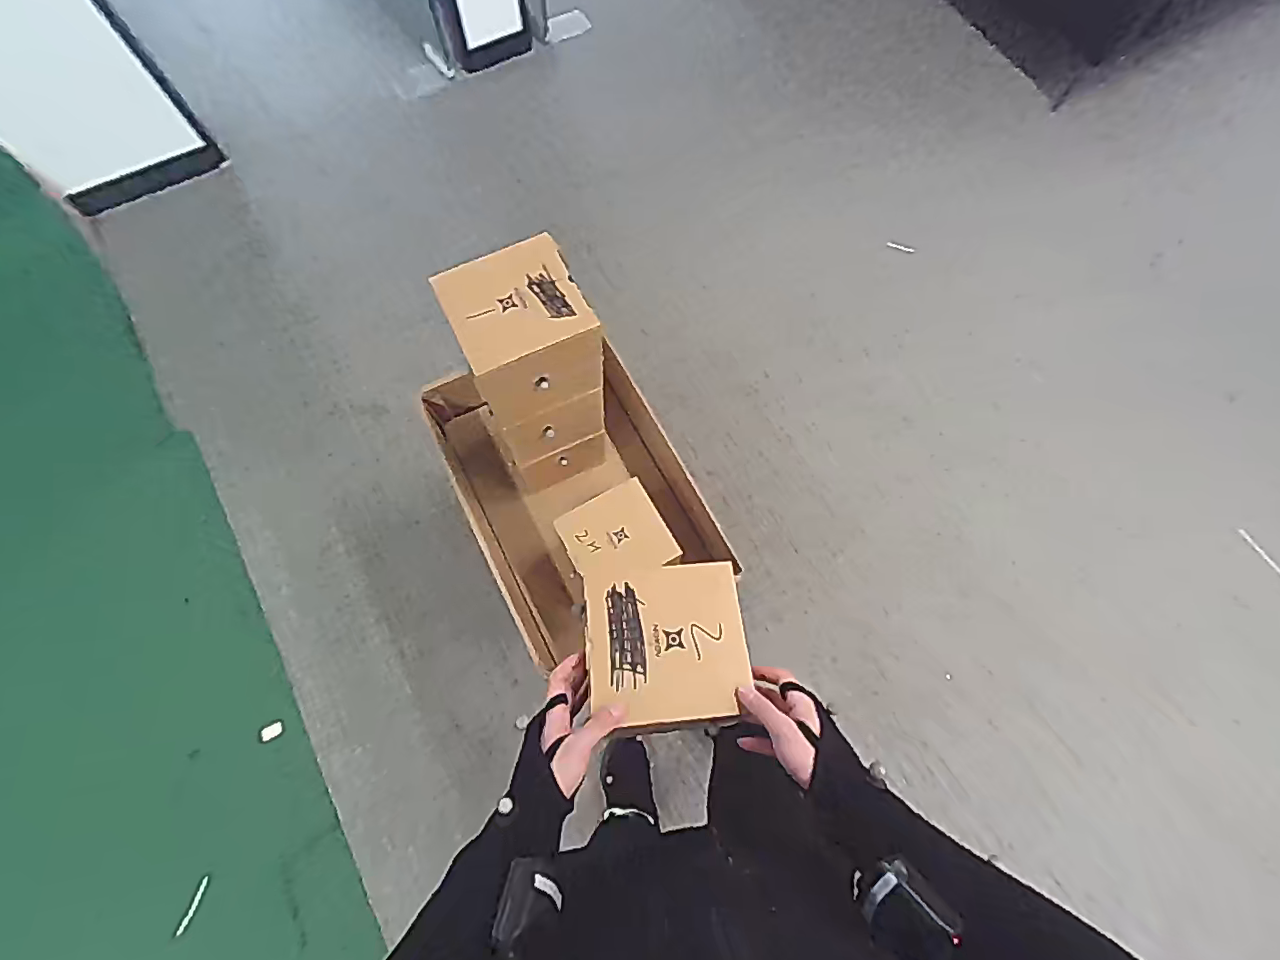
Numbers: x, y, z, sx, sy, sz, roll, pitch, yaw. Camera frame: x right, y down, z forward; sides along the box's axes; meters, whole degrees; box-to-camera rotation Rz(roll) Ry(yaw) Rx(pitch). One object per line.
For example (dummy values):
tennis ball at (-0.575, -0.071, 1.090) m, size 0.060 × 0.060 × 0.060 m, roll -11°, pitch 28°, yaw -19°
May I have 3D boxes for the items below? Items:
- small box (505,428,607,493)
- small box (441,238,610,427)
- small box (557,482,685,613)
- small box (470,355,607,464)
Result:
small box at (-0.175, -0.094, 1.088) m, size 0.179 × 0.176 × 0.168 m, roll -23°, pitch 74°, yaw -11°
small box at (-0.155, -0.203, 0.779) m, size 0.179 × 0.176 × 0.168 m, roll -25°, pitch 75°, yaw -11°
small box at (-0.038, 0.132, 1.012) m, size 0.179 × 0.176 × 0.168 m, roll -27°, pitch 73°, yaw -11°
small box at (-0.165, -0.150, 0.935) m, size 0.179 × 0.176 × 0.168 m, roll -24°, pitch 75°, yaw -10°
